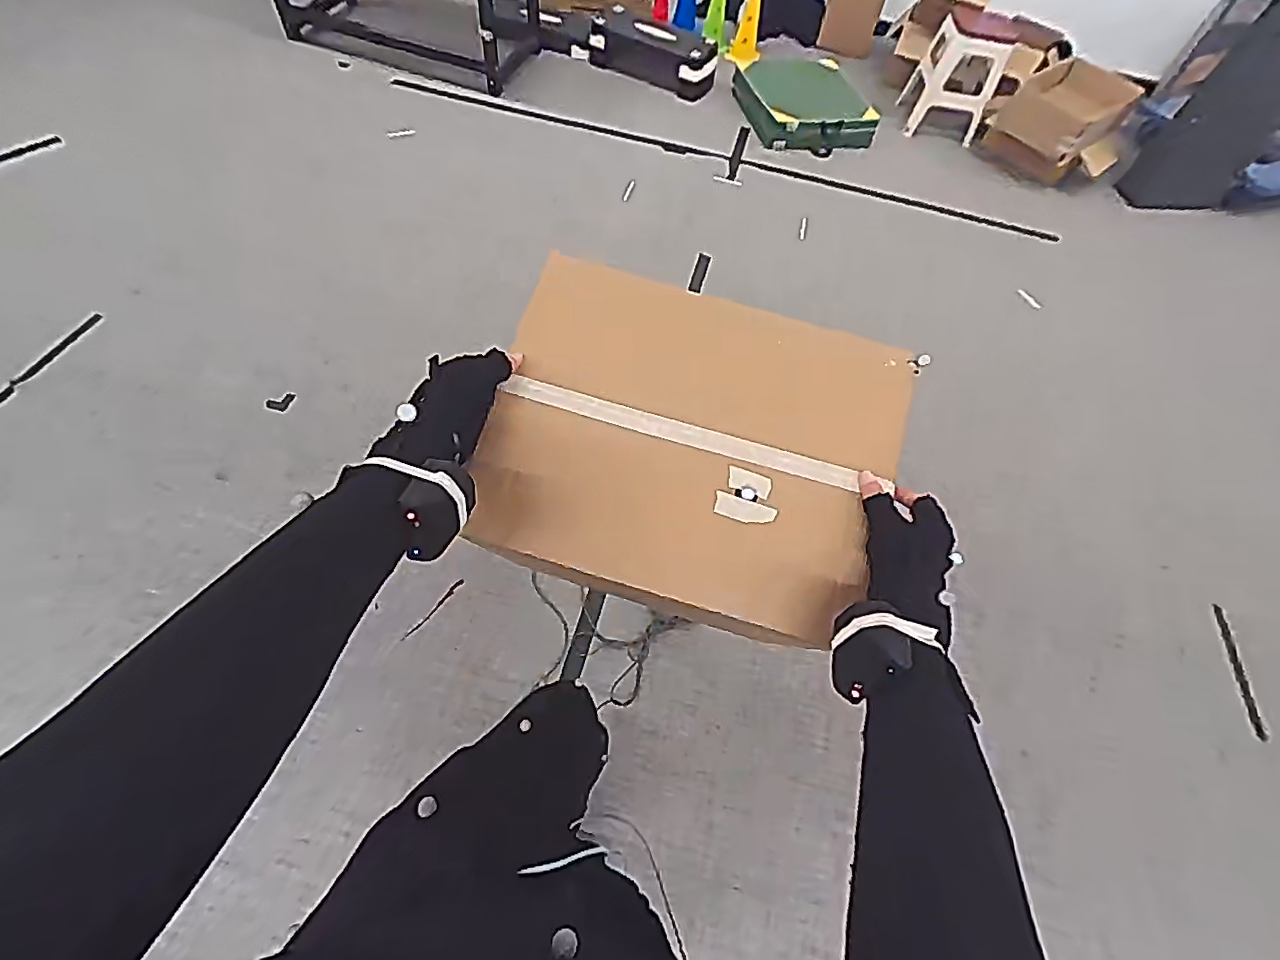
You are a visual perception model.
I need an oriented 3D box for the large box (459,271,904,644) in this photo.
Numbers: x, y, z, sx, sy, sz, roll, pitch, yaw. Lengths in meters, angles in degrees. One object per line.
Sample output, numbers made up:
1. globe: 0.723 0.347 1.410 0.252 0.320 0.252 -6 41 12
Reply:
1. large box: 0.048 -0.002 0.694 0.408 0.320 0.320 17 76 3
